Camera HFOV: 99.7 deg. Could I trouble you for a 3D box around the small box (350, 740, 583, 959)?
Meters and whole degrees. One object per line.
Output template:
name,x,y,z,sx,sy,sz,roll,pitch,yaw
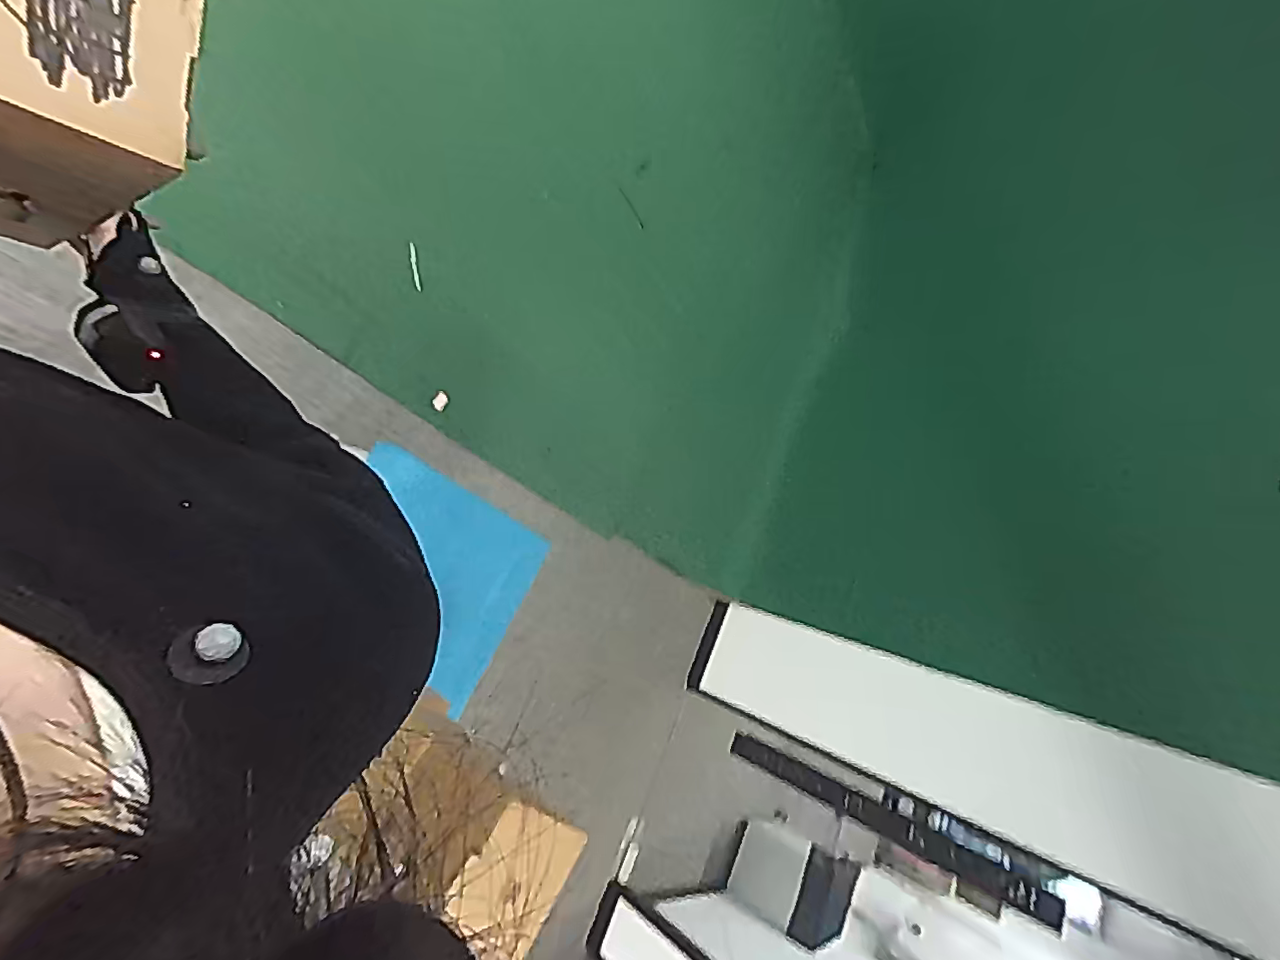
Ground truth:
small box,-0.209,0.449,0.661,0.168,0.176,0.179,-55,136,-26

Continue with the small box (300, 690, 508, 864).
small box,-0.332,0.423,0.765,0.168,0.176,0.179,-58,136,-24
